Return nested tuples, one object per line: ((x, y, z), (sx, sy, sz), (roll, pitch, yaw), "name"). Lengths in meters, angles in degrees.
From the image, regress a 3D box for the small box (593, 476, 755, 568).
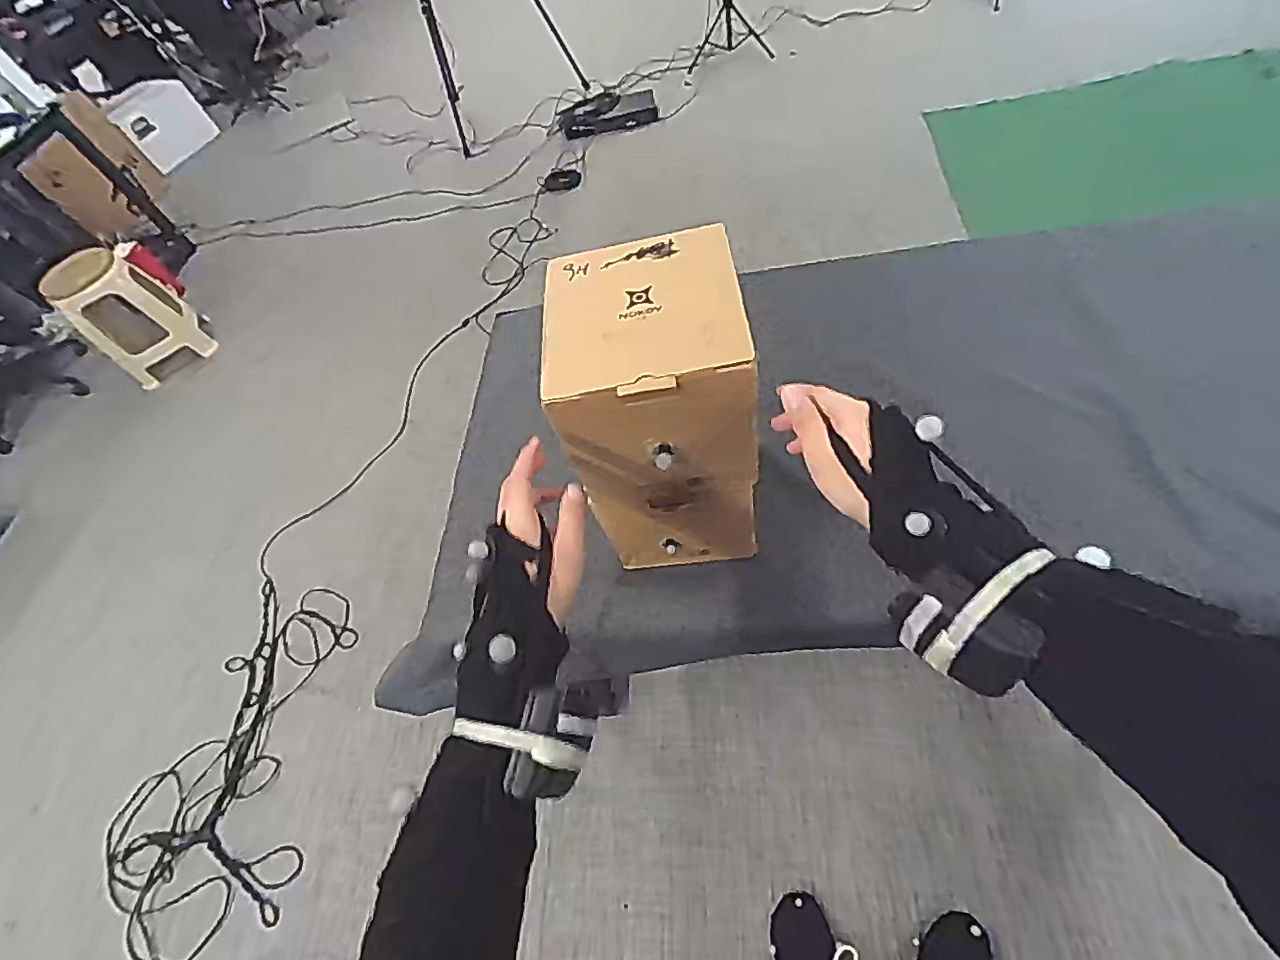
((0.045, -0.013, 0.650), (0.168, 0.176, 0.179), (-8, 57, 8), "small box")

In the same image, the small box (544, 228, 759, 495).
((0.017, -0.098, 0.514), (0.168, 0.176, 0.179), (-9, 57, 8), "small box")
